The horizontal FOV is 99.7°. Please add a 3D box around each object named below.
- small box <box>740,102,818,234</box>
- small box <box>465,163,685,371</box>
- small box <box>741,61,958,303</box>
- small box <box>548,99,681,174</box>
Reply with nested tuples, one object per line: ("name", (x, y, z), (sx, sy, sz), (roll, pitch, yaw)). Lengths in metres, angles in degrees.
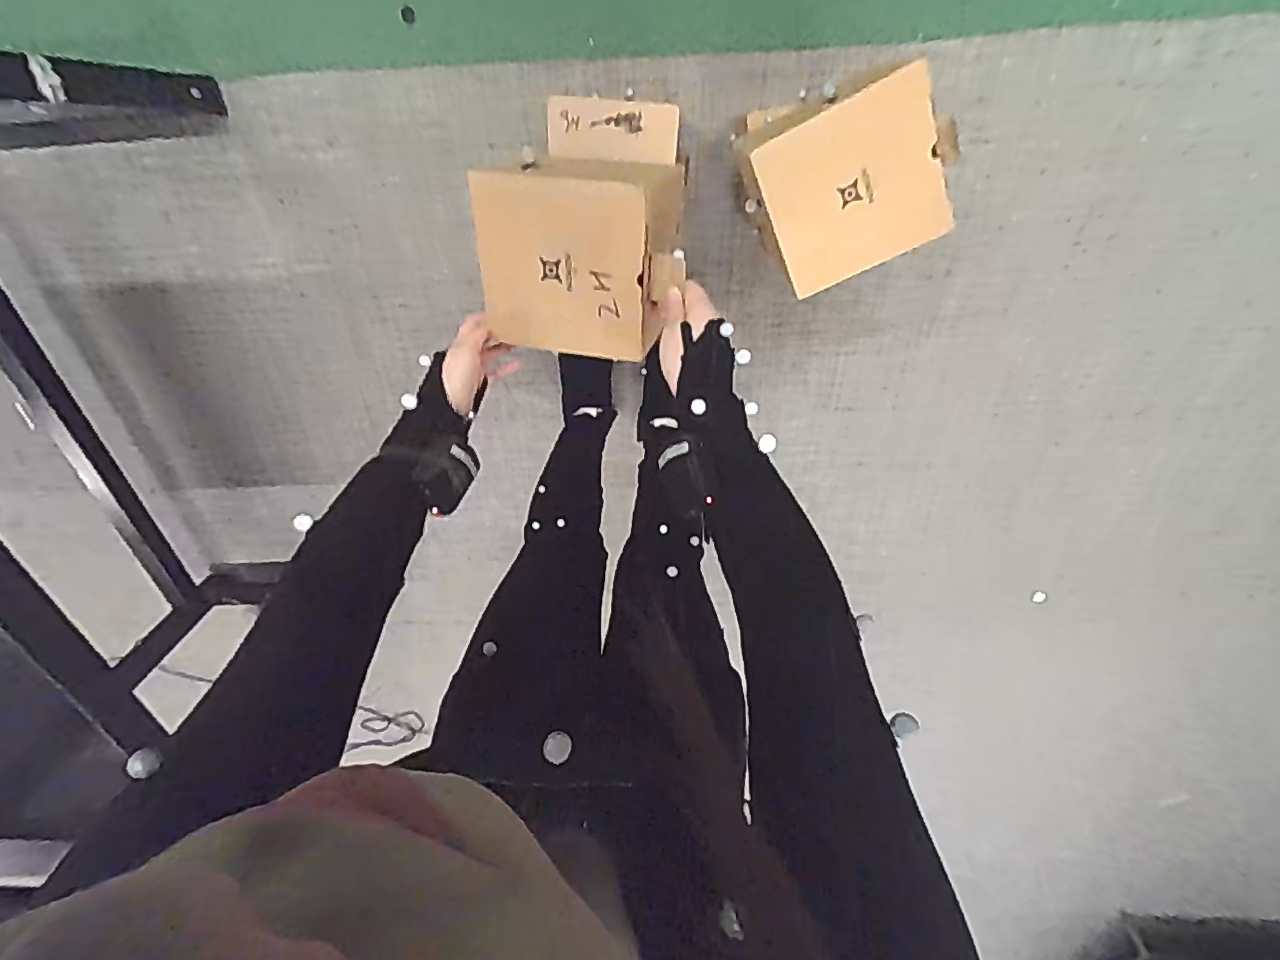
("small box", (0.260, -0.515, 0.887), (0.179, 0.176, 0.168), (-7, 122, 6))
("small box", (-0.058, -0.236, 0.580), (0.179, 0.176, 0.168), (10, 127, 10))
("small box", (0.224, -0.333, 0.618), (0.179, 0.176, 0.168), (-23, 120, 15))
("small box", (-0.032, -0.423, 0.765), (0.168, 0.176, 0.179), (5, 123, 0))
